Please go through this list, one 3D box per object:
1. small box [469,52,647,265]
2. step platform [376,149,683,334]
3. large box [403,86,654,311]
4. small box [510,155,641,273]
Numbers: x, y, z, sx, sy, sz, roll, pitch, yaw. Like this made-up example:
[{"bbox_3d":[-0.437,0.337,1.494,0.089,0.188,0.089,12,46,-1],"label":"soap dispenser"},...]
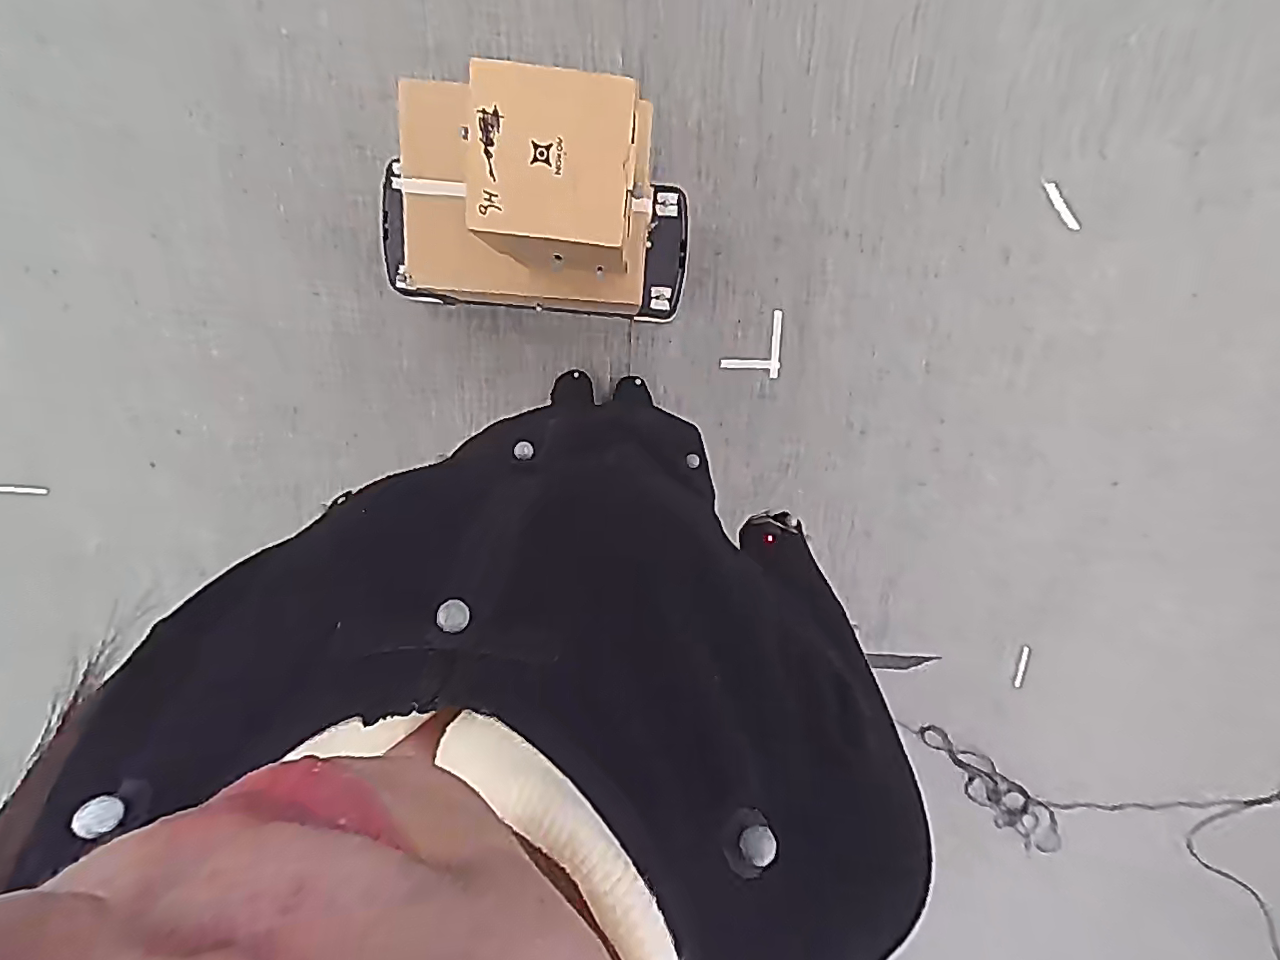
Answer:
[{"bbox_3d":[-0.092,-0.361,0.643,0.179,0.176,0.168,6,103,-4],"label":"small box"},{"bbox_3d":[-0.243,-0.538,1.261,0.684,0.204,0.286,9,103,-3],"label":"step platform"},{"bbox_3d":[-0.182,-0.496,1.029,0.408,0.320,0.320,3,103,-1],"label":"large box"},{"bbox_3d":[-0.092,-0.406,0.801,0.179,0.176,0.168,4,104,-2],"label":"small box"}]
